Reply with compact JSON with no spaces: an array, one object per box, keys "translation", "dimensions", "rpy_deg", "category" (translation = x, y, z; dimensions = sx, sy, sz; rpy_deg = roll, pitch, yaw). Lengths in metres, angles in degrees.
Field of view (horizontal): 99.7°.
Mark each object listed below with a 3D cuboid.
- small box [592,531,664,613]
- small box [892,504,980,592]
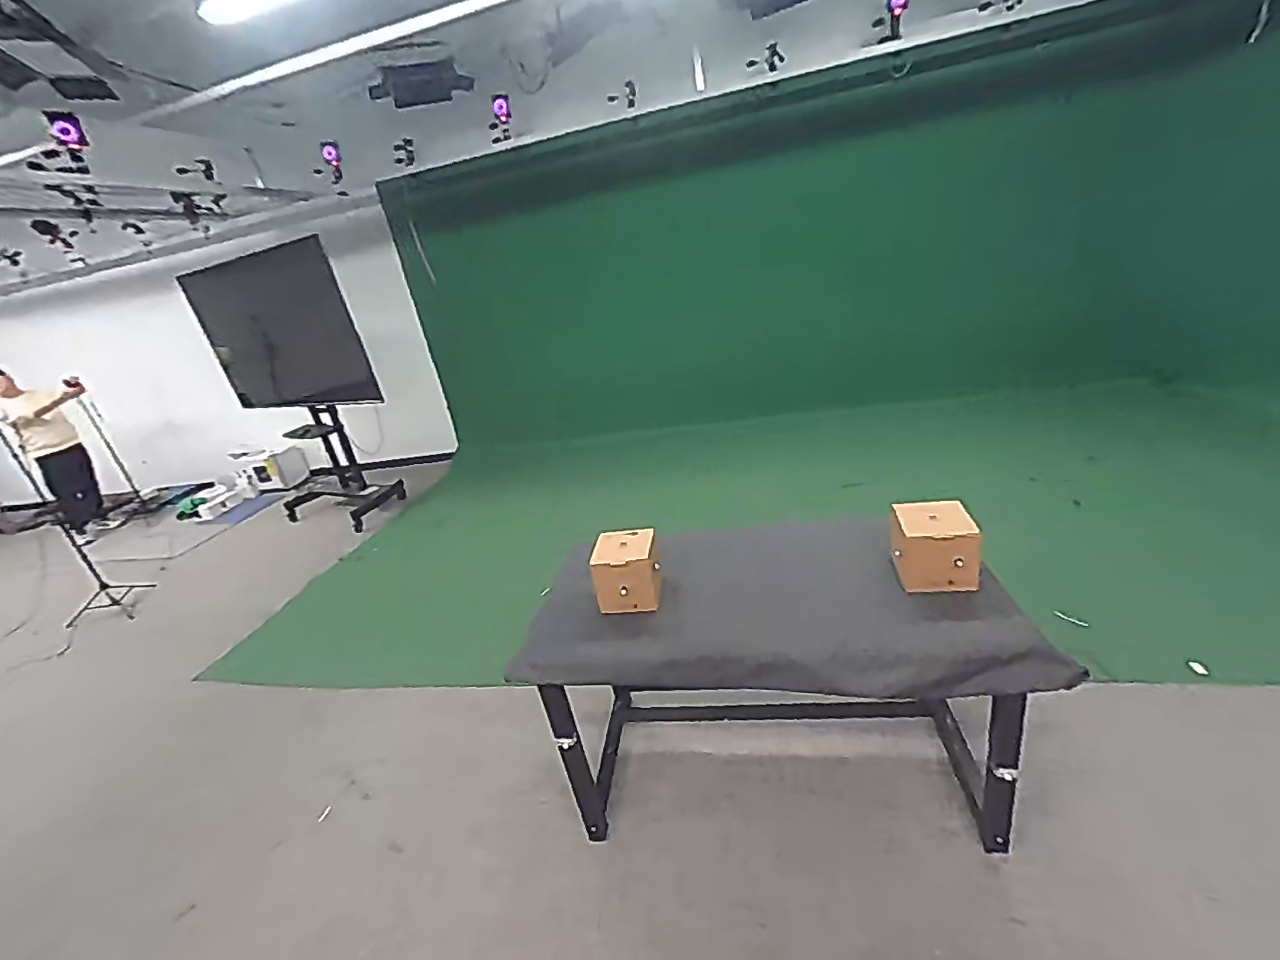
[{"translation":[-0.026,0.269,1.559],"dimensions":[0.168,0.176,0.179],"rpy_deg":[-6,23,11],"category":"small box"},{"translation":[0.761,0.178,1.400],"dimensions":[0.168,0.176,0.179],"rpy_deg":[-4,22,15],"category":"small box"}]
